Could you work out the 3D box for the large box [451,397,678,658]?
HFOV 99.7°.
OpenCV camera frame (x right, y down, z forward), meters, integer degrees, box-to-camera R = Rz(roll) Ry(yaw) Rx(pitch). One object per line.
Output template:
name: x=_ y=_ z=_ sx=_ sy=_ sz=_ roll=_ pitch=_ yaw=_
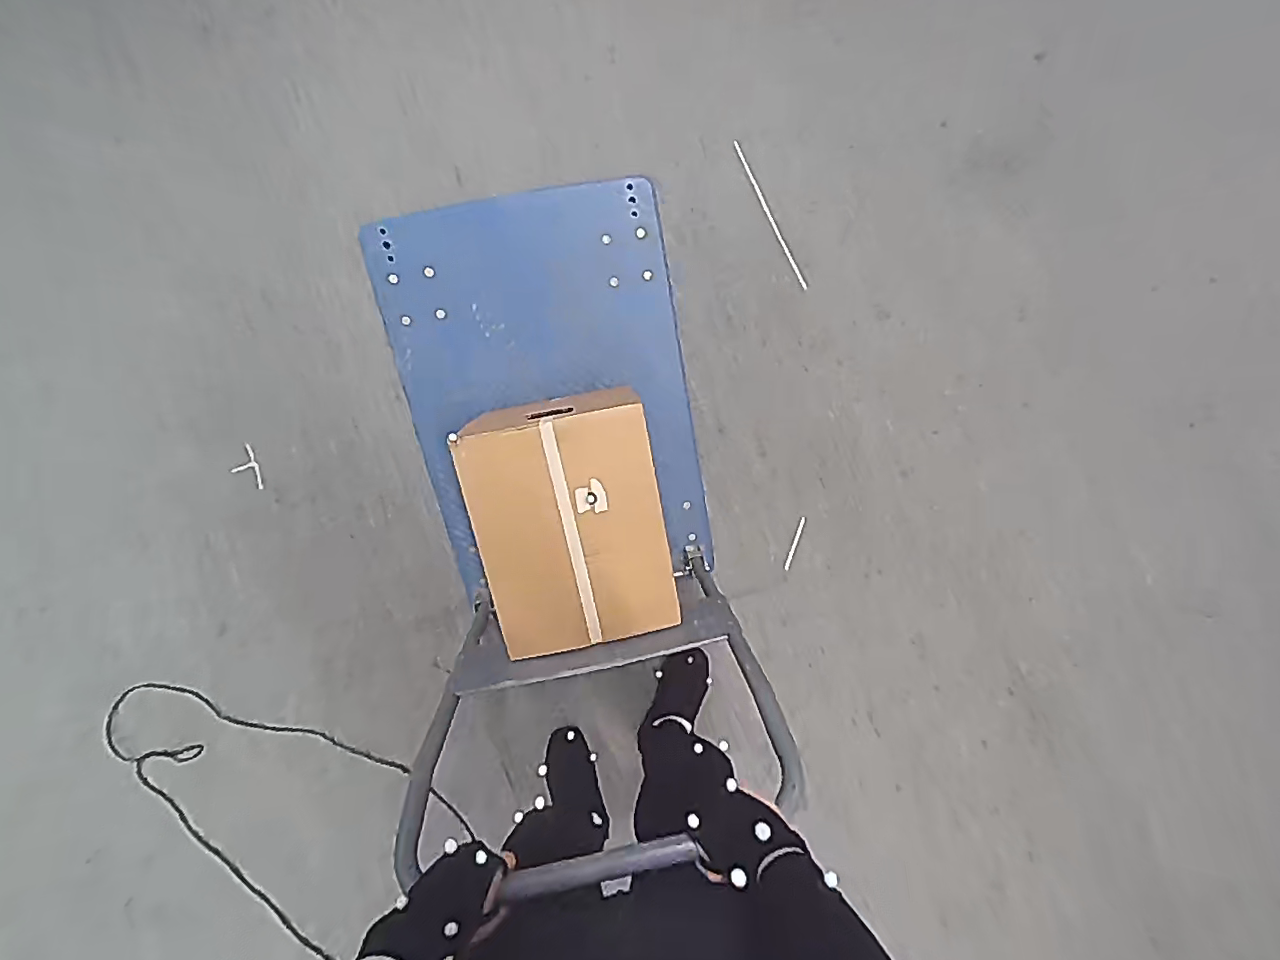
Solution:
large box: x=-0.129 y=0.071 z=1.072 sx=0.320 sy=0.320 sz=0.408 roll=-12 pitch=104 yaw=-2
